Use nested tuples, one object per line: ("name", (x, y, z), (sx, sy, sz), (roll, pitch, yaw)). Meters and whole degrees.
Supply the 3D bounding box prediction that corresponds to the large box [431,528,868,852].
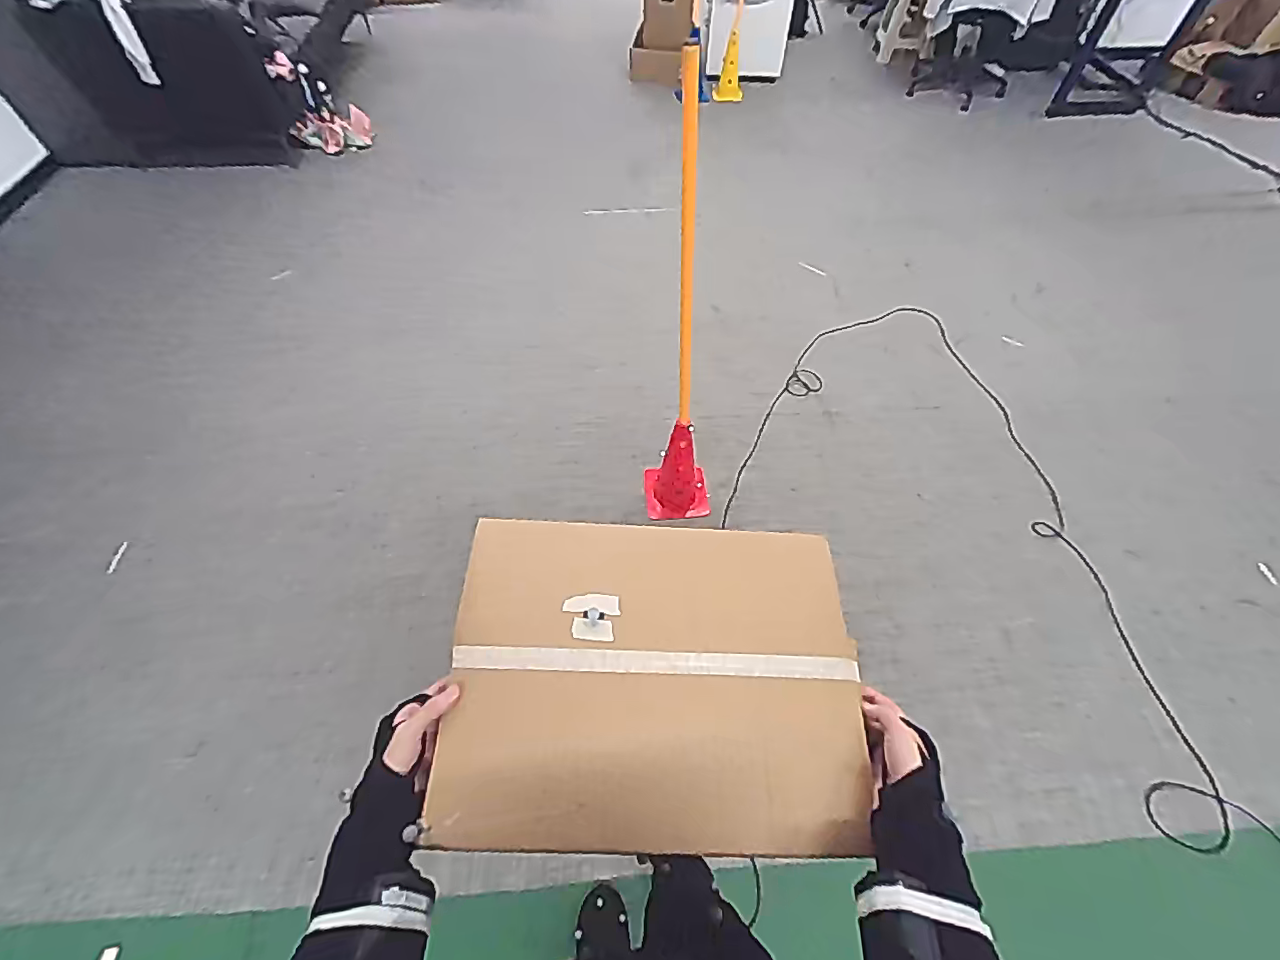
("large box", (0.008, 0.270, 0.688), (0.408, 0.320, 0.320), (3, 58, -2))
